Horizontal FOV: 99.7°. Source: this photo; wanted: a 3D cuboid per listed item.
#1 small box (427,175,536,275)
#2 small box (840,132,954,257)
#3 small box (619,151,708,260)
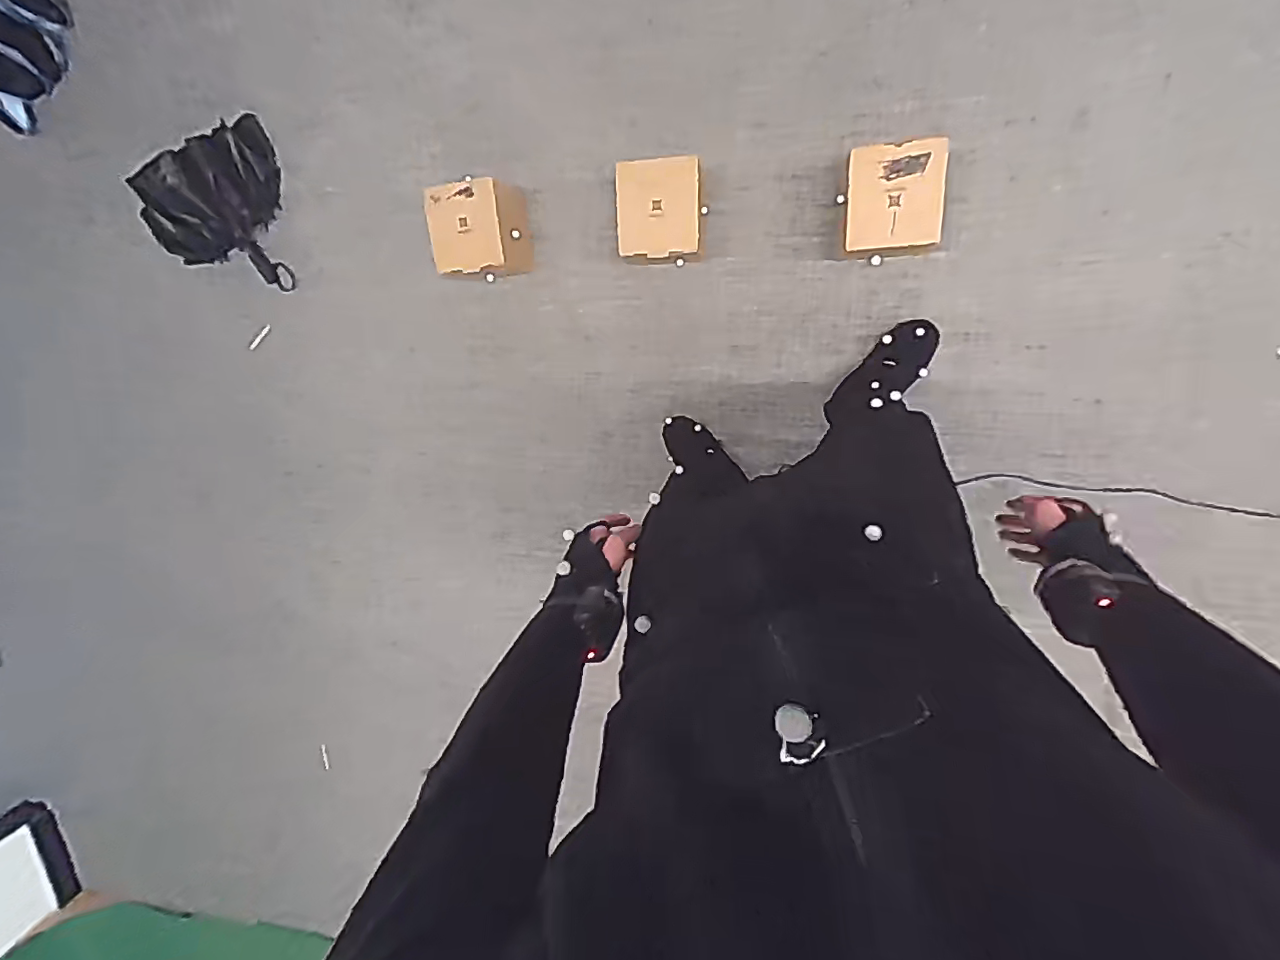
[{"bbox_3d":[-0.350,-0.568,1.230,0.168,0.176,0.179,-3,106,13],"label":"small box"},{"bbox_3d":[0.487,-0.542,1.050,0.168,0.176,0.179,0,106,13],"label":"small box"},{"bbox_3d":[0.057,-0.567,1.143,0.168,0.176,0.179,0,105,11],"label":"small box"}]
